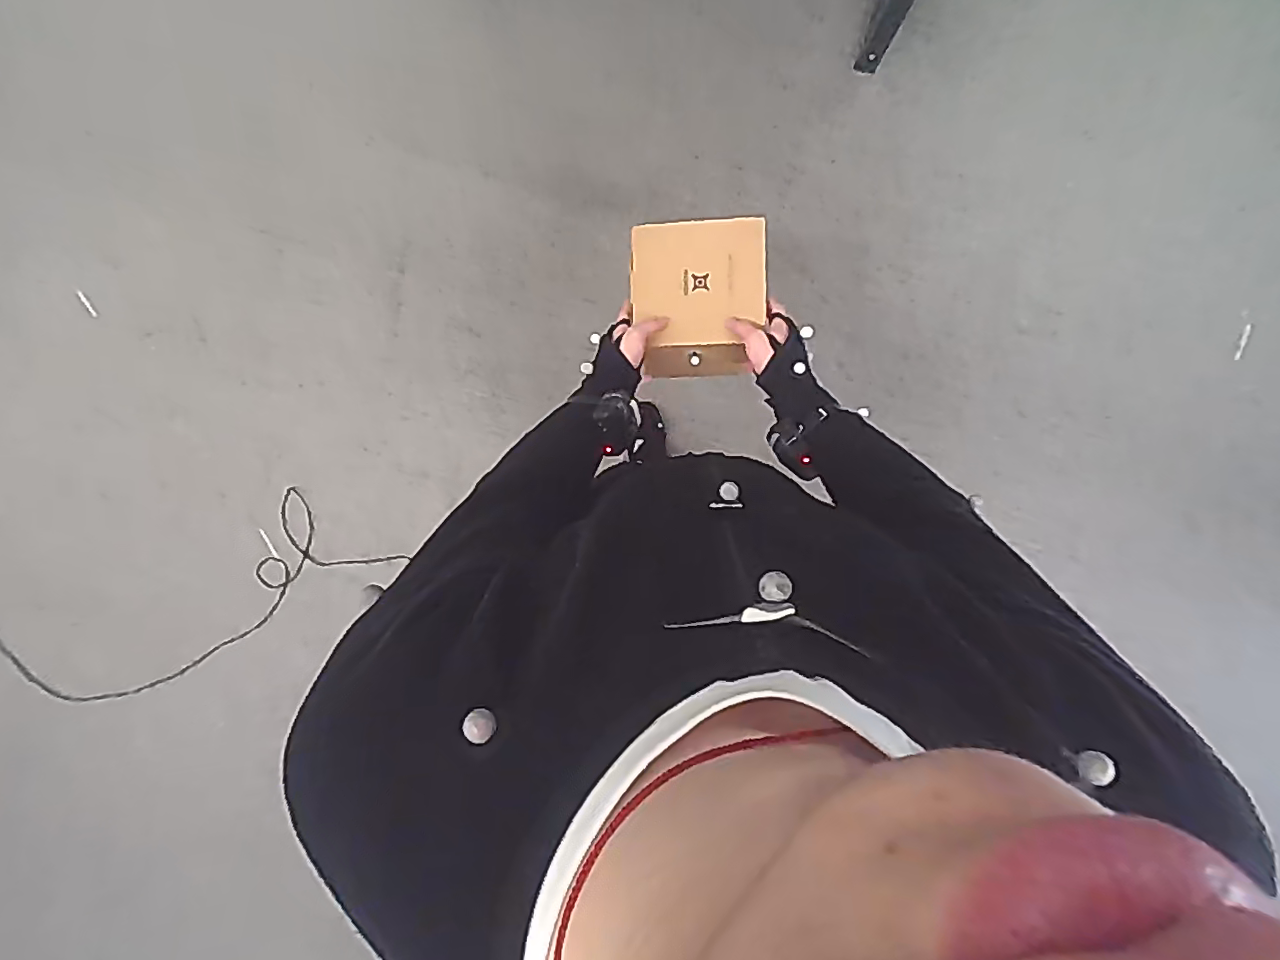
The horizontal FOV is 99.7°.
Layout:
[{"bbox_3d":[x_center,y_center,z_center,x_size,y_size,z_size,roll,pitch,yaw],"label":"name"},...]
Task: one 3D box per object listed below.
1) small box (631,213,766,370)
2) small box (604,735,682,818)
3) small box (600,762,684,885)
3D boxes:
[{"bbox_3d":[0.083,-0.259,0.781,0.179,0.176,0.168,-1,88,5],"label":"small box"},{"bbox_3d":[0.010,0.858,1.537,0.179,0.176,0.168,18,95,1],"label":"small box"},{"bbox_3d":[0.007,0.862,1.371,0.168,0.176,0.179,16,94,0],"label":"small box"}]
